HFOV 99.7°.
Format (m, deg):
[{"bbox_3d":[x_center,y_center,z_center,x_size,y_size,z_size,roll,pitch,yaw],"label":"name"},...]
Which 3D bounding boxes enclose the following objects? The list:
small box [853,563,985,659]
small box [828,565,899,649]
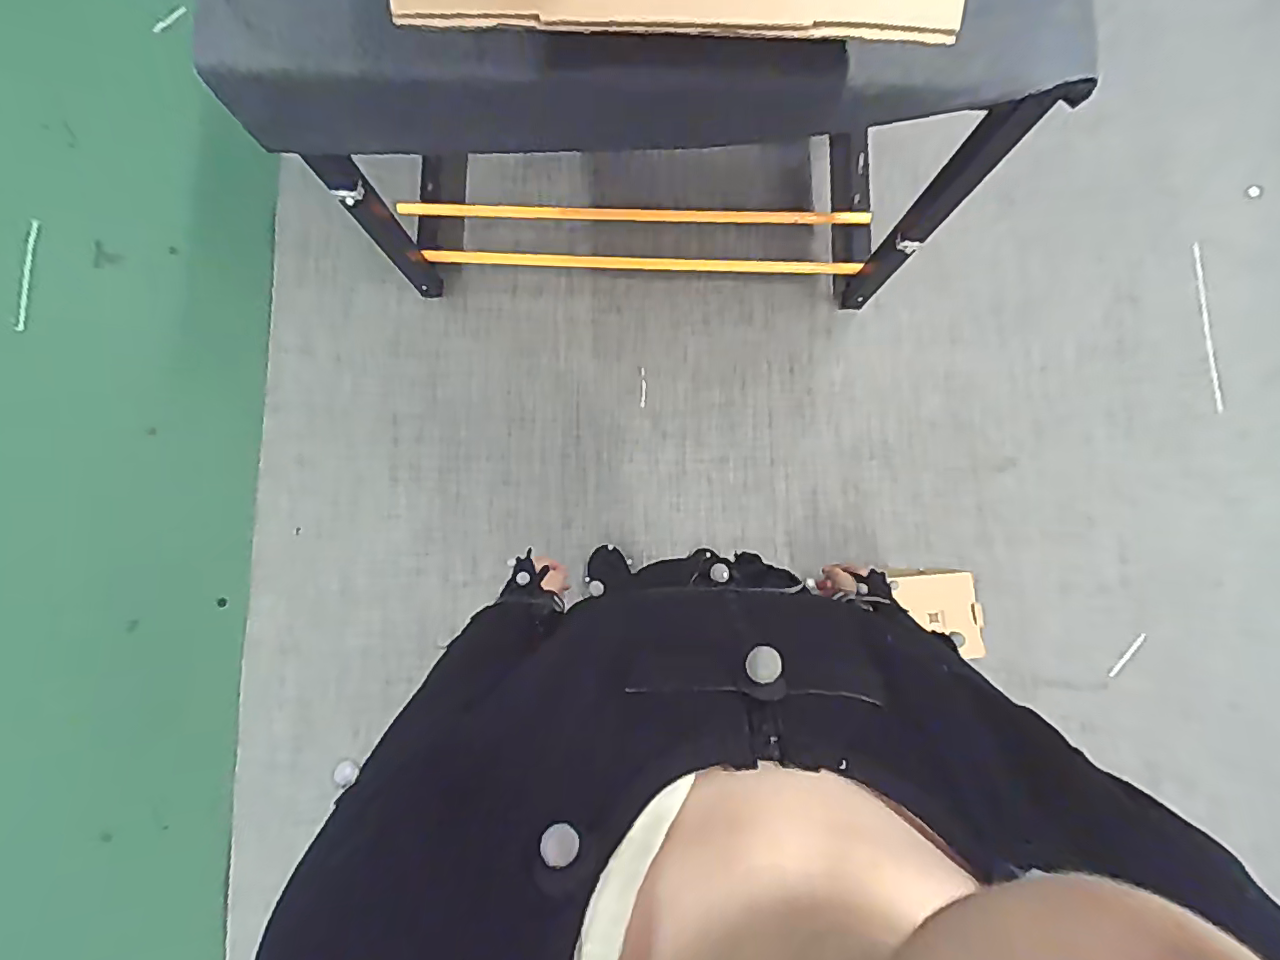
[{"bbox_3d":[0.569,0.264,1.123,0.179,0.176,0.168,-5,83,0],"label":"small box"},{"bbox_3d":[0.562,0.294,1.284,0.168,0.176,0.179,-5,83,-1],"label":"small box"}]
